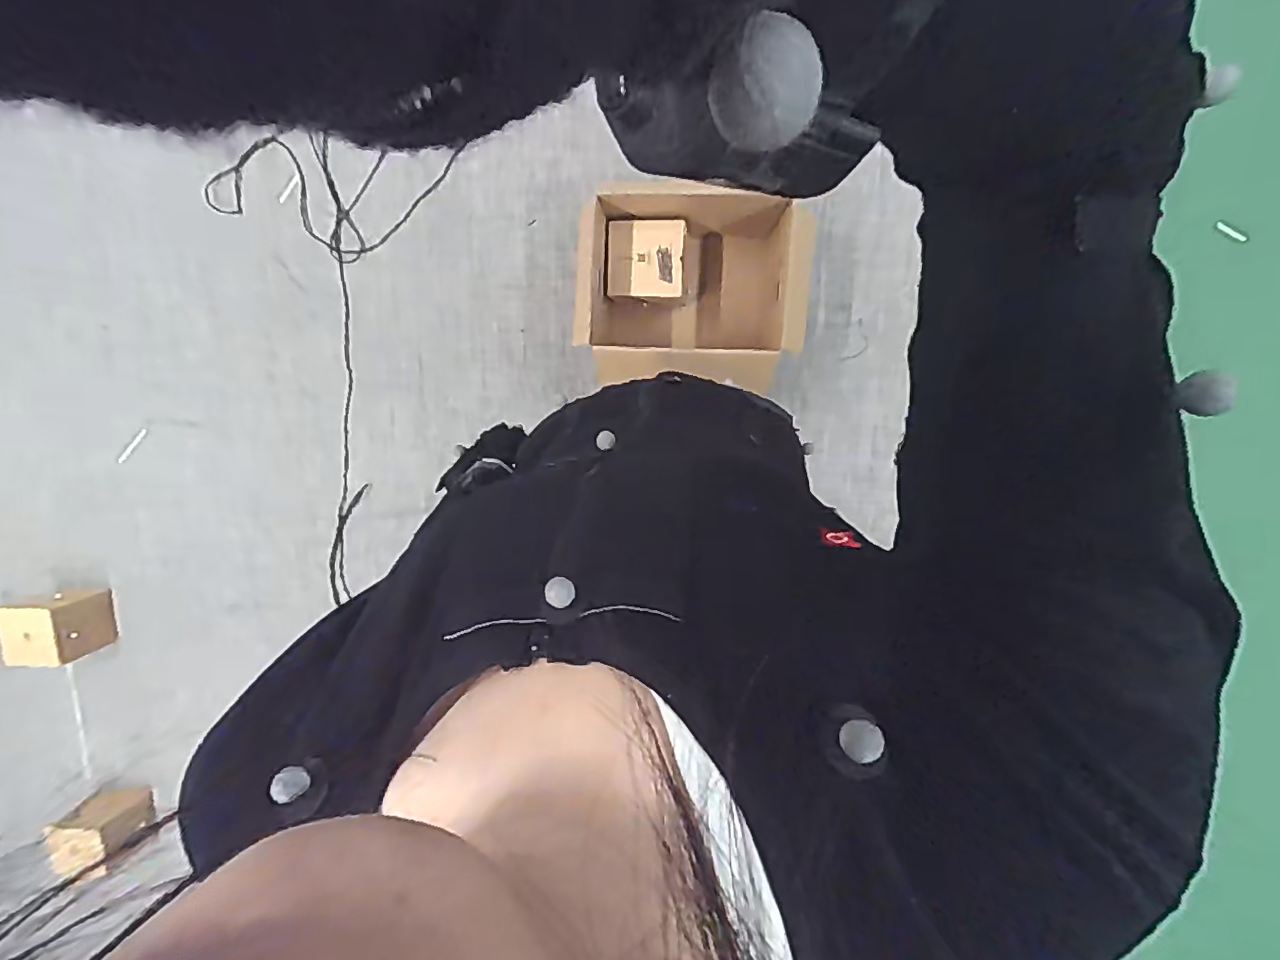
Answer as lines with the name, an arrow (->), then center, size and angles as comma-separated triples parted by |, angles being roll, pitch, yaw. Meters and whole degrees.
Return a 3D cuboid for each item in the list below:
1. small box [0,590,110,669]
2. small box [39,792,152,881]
small box -> -1.710, 0.429, 1.573 | 0.168, 0.176, 0.179 | 0, 100, 3
small box -> -1.691, 1.104, 1.687 | 0.179, 0.176, 0.168 | 0, 100, 3
